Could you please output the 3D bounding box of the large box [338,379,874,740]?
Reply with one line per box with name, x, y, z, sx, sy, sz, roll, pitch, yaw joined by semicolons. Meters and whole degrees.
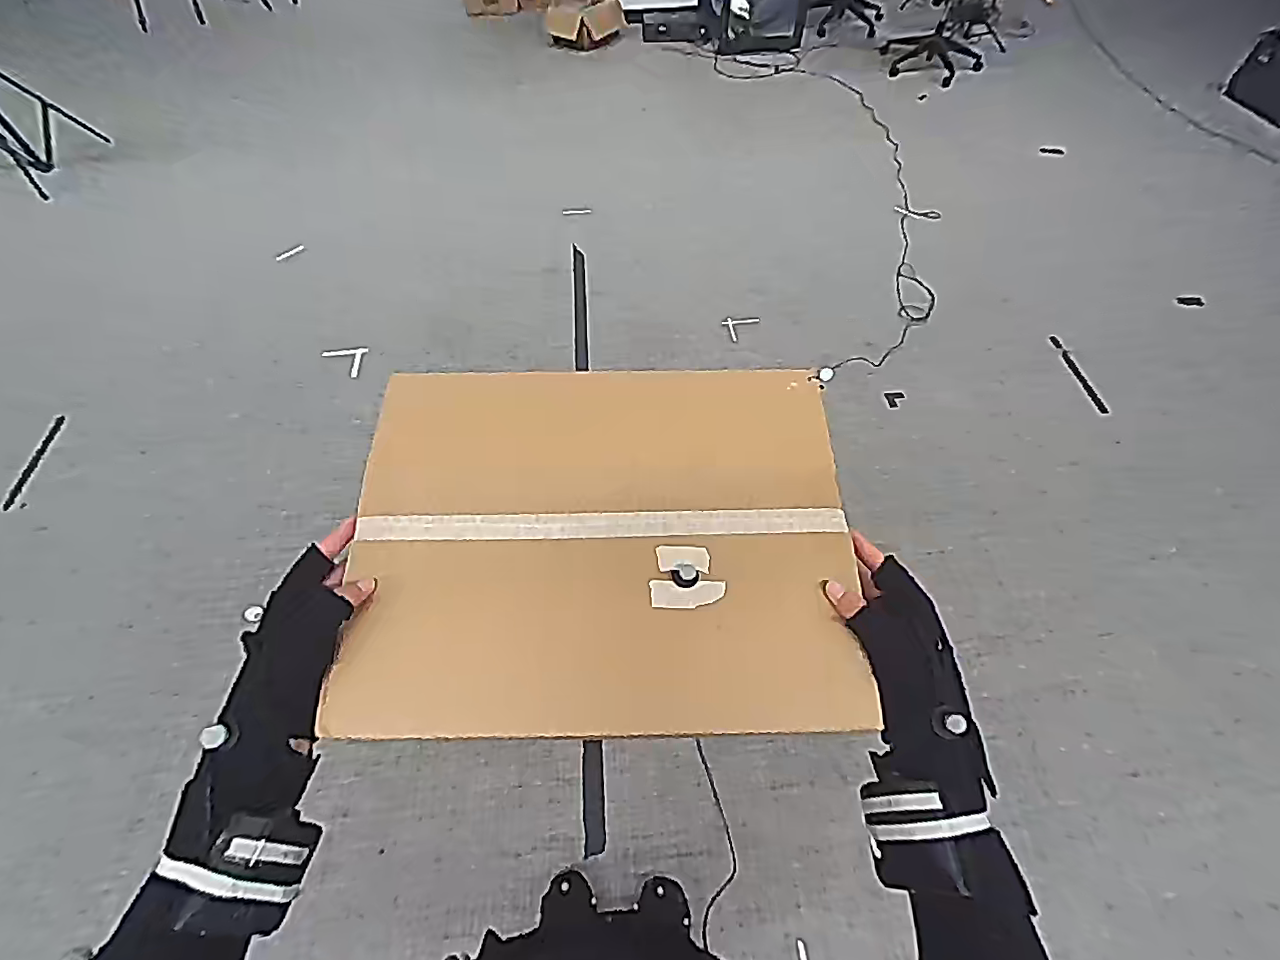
large box;-0.030;0.107;0.593;0.408;0.320;0.320;-1;65;-1
